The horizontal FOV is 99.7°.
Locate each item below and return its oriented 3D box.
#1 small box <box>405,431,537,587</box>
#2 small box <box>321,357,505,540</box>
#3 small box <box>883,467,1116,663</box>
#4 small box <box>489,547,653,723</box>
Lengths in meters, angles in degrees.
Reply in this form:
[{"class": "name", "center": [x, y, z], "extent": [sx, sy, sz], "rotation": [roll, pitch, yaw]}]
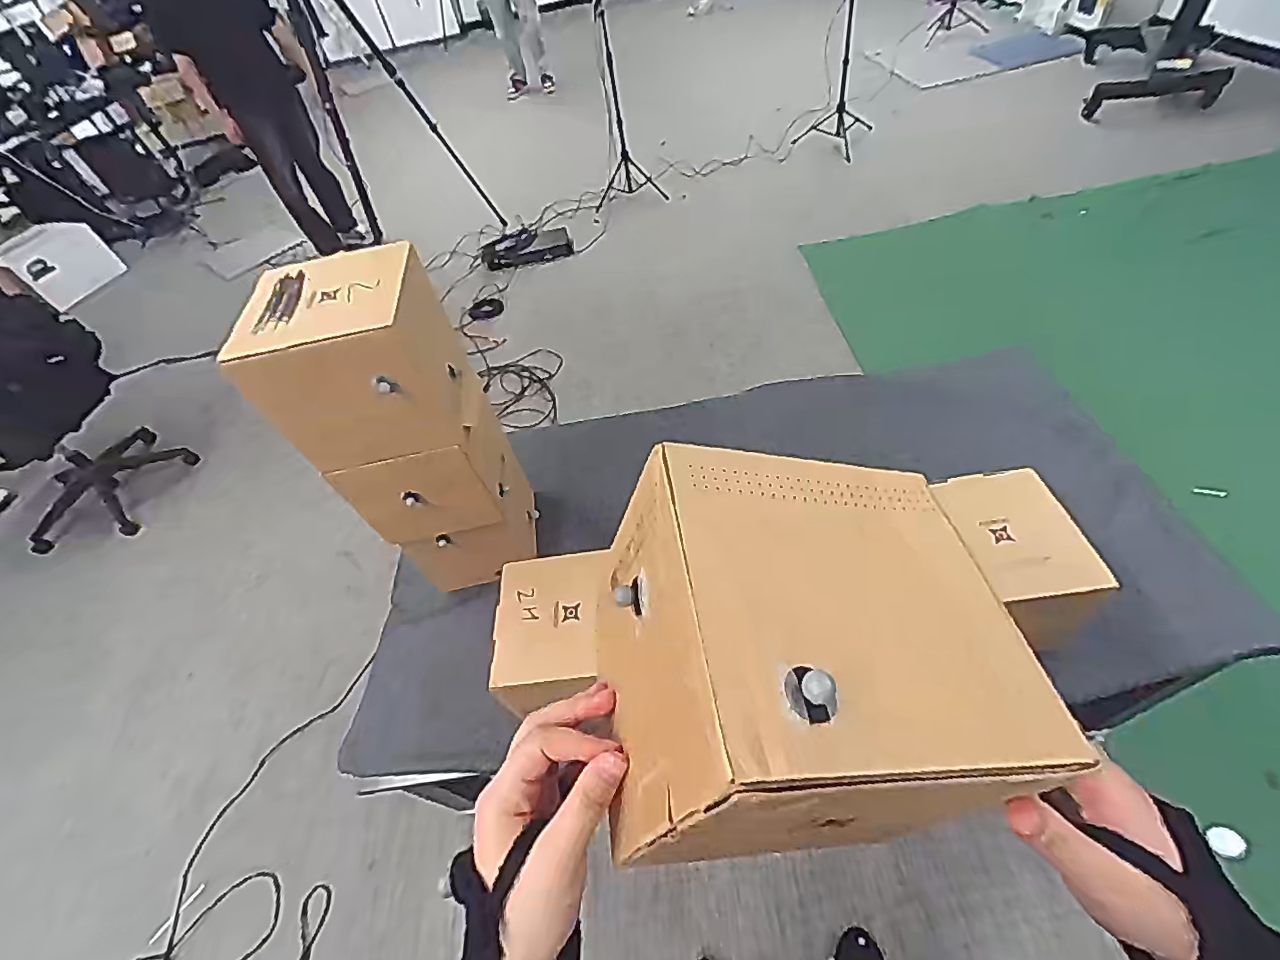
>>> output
[{"class": "small box", "center": [-0.273, 0.050, 0.890], "extent": [0.168, 0.176, 0.179], "rotation": [-13, 51, 1]}, {"class": "small box", "center": [-0.296, -0.039, 0.752], "extent": [0.179, 0.176, 0.168], "rotation": [-13, 52, 2]}, {"class": "small box", "center": [0.432, 0.111, 0.693], "extent": [0.168, 0.176, 0.179], "rotation": [-10, 49, 5]}, {"class": "small box", "center": [-0.079, 0.210, 0.719], "extent": [0.179, 0.176, 0.168], "rotation": [-8, 50, 5]}]
